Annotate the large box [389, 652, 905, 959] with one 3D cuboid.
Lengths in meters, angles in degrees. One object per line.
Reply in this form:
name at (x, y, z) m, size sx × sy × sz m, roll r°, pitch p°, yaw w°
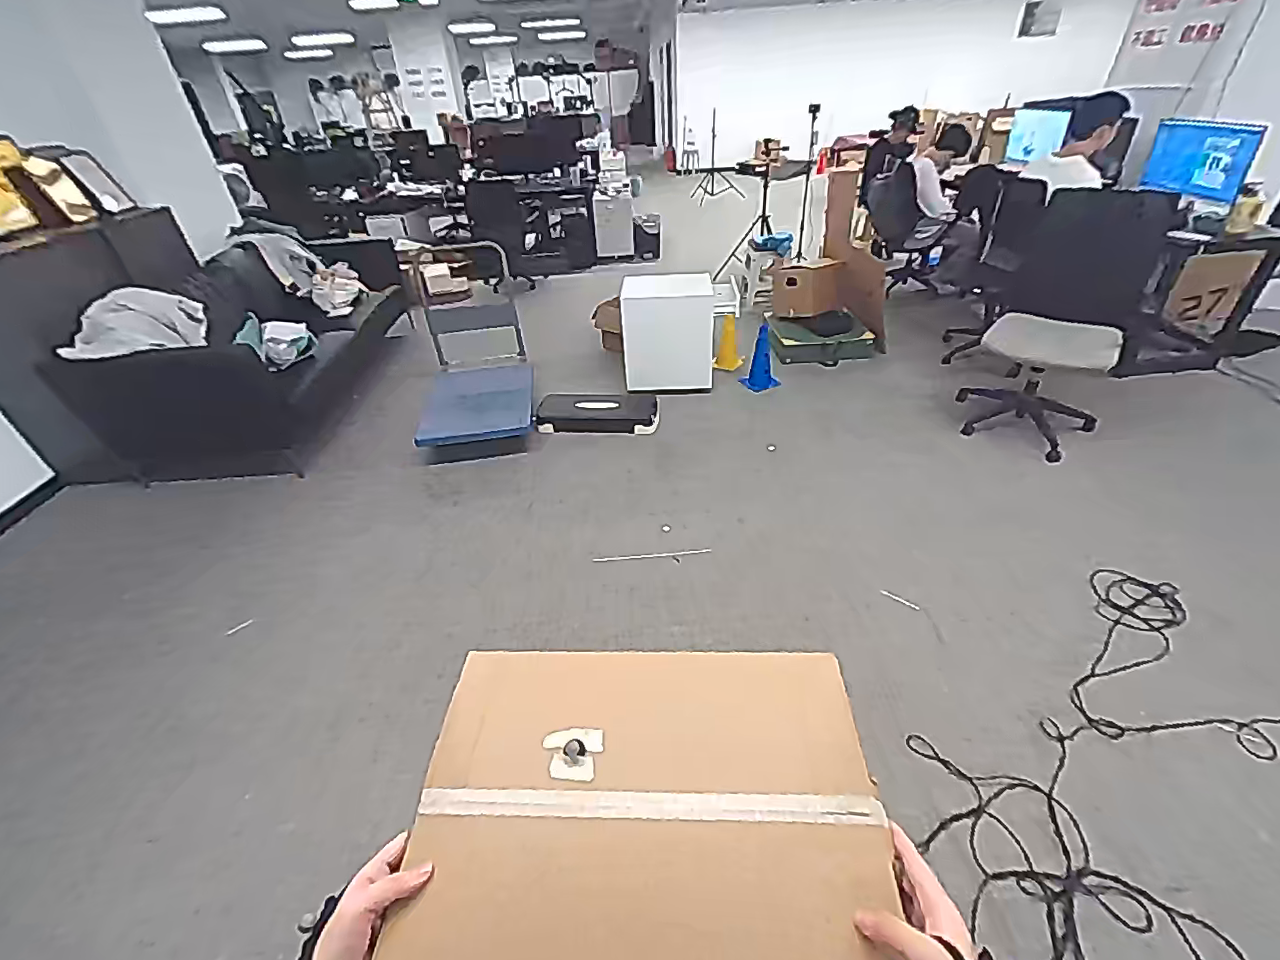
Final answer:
large box at (0.017, 0.411, 0.587) m, size 0.408 × 0.320 × 0.320 m, roll -3°, pitch 40°, yaw 5°
